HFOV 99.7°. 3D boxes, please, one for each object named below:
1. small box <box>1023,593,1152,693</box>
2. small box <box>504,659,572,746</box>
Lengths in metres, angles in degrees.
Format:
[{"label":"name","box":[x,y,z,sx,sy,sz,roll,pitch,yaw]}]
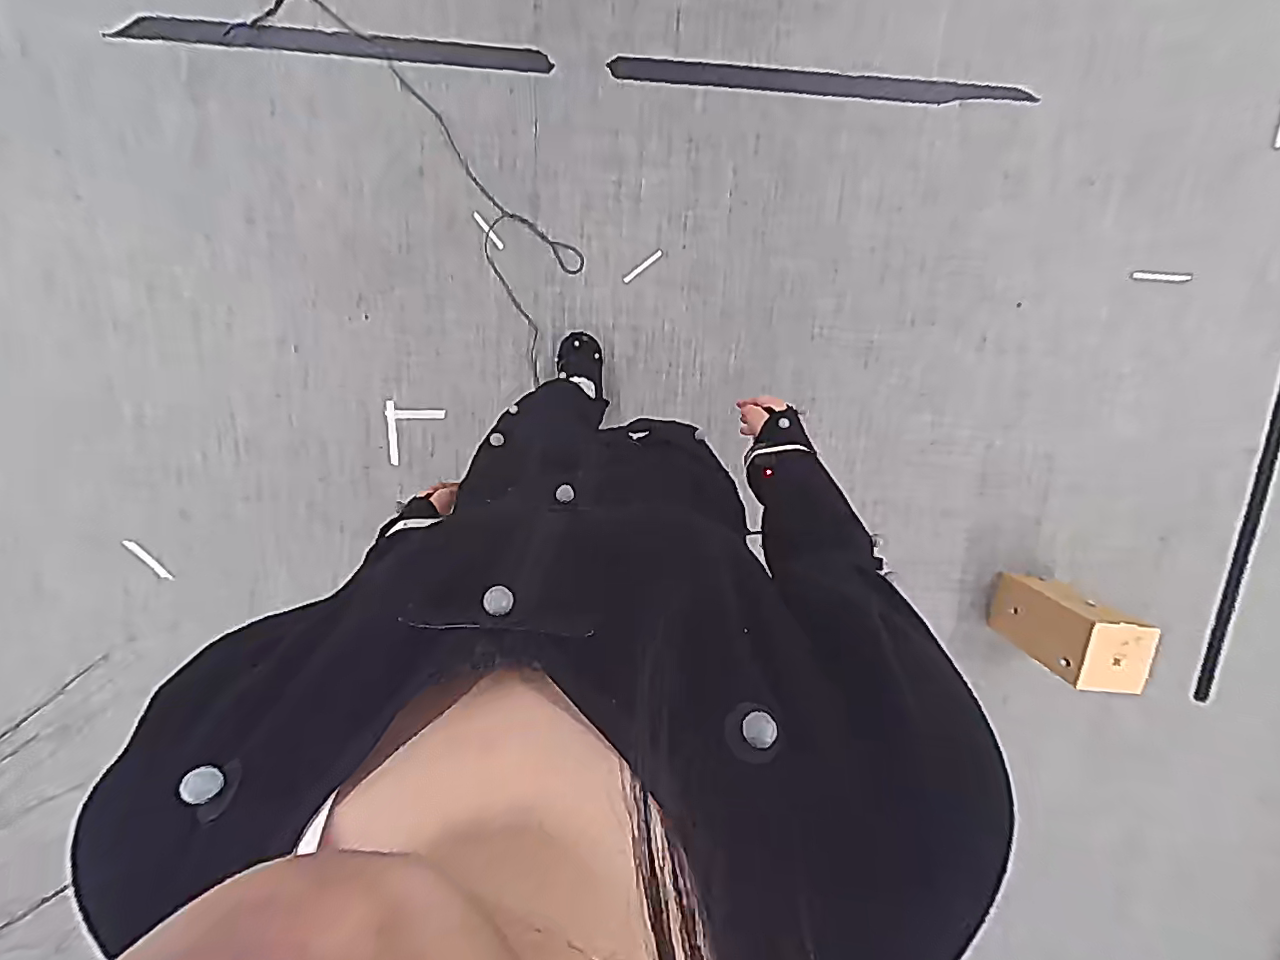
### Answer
[{"label":"small box","box":[1.110,0.404,1.358,0.168,0.176,0.179,6,101,-3]},{"label":"small box","box":[-0.285,0.625,1.538,0.168,0.176,0.179,0,103,-1]}]
